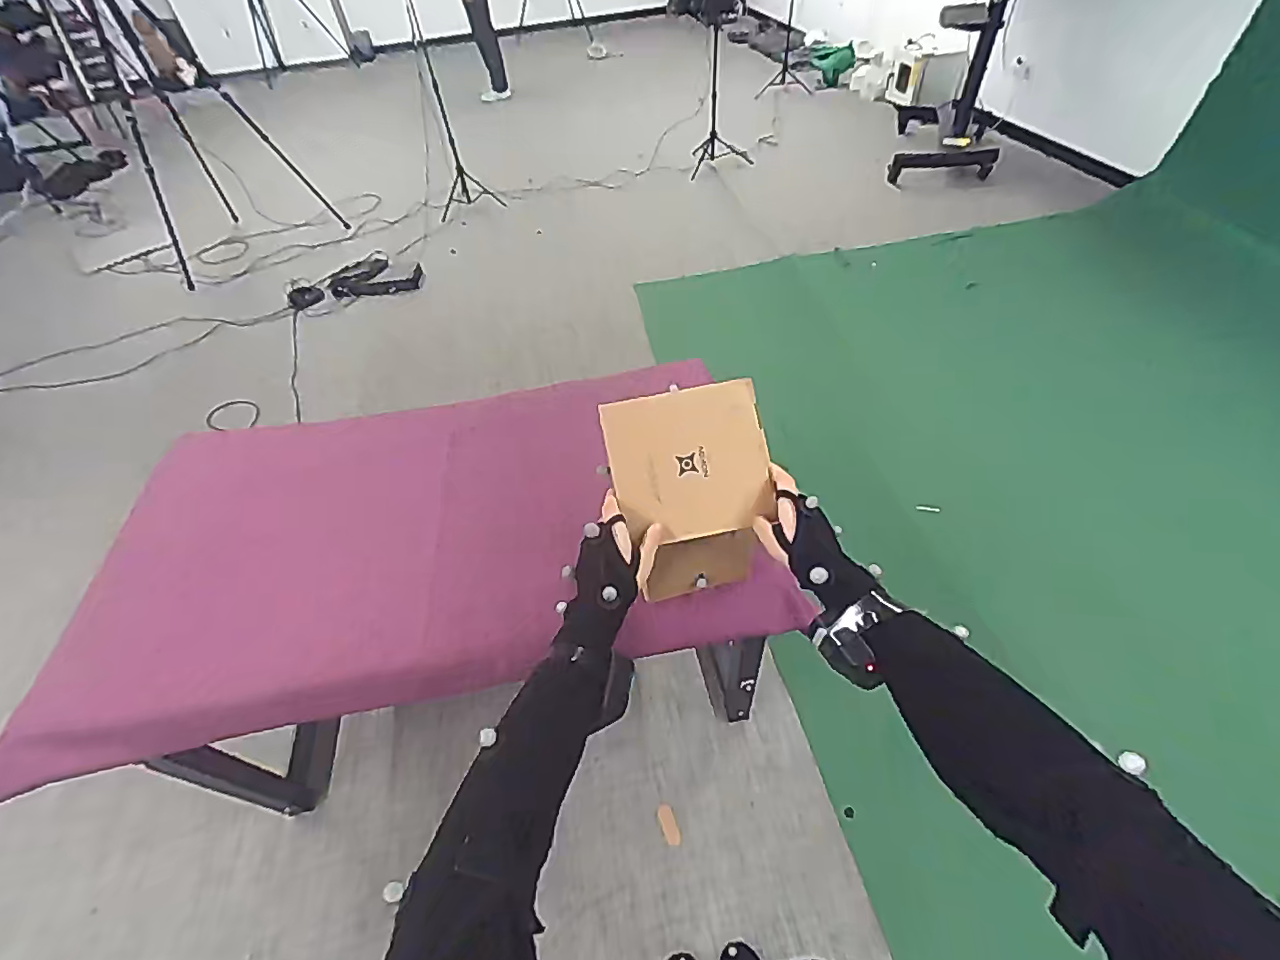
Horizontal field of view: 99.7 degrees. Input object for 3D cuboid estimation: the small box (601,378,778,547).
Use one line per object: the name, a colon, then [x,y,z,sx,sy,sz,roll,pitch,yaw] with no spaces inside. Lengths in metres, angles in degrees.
small box: [0.050,-0.017,0.673,0.179,0.176,0.168,-11,87,-3]

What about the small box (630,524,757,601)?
small box: [0.069,0.067,0.859,0.179,0.176,0.168,-14,49,-6]
